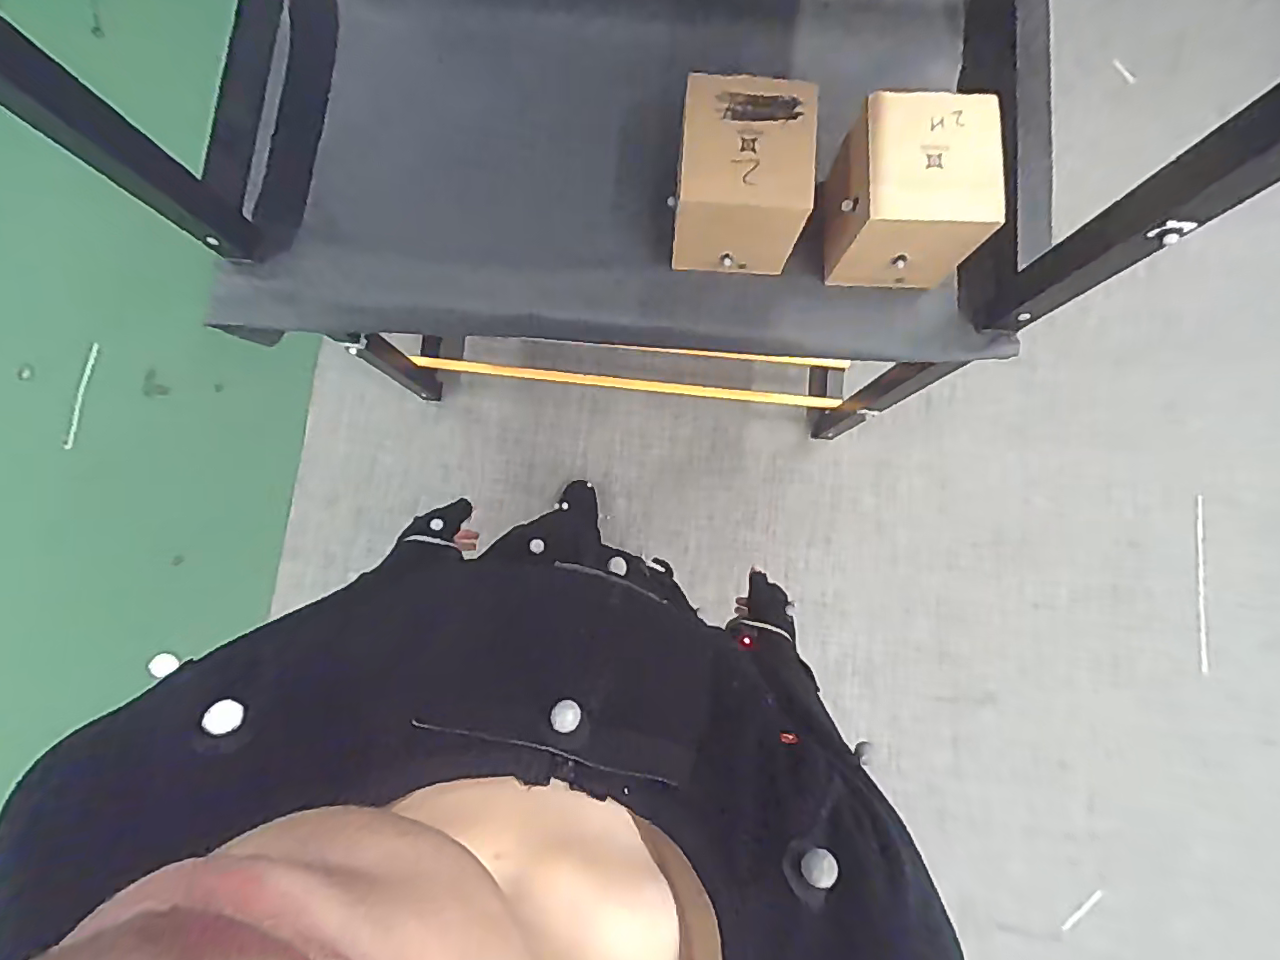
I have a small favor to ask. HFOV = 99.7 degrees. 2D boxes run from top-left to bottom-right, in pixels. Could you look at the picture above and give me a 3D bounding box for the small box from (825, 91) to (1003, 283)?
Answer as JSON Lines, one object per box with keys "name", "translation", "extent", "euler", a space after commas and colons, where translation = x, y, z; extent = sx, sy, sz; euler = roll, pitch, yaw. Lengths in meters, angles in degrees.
{"name": "small box", "translation": [0.365, -0.391, 0.748], "extent": [0.168, 0.176, 0.179], "euler": [2, 82, 0]}
